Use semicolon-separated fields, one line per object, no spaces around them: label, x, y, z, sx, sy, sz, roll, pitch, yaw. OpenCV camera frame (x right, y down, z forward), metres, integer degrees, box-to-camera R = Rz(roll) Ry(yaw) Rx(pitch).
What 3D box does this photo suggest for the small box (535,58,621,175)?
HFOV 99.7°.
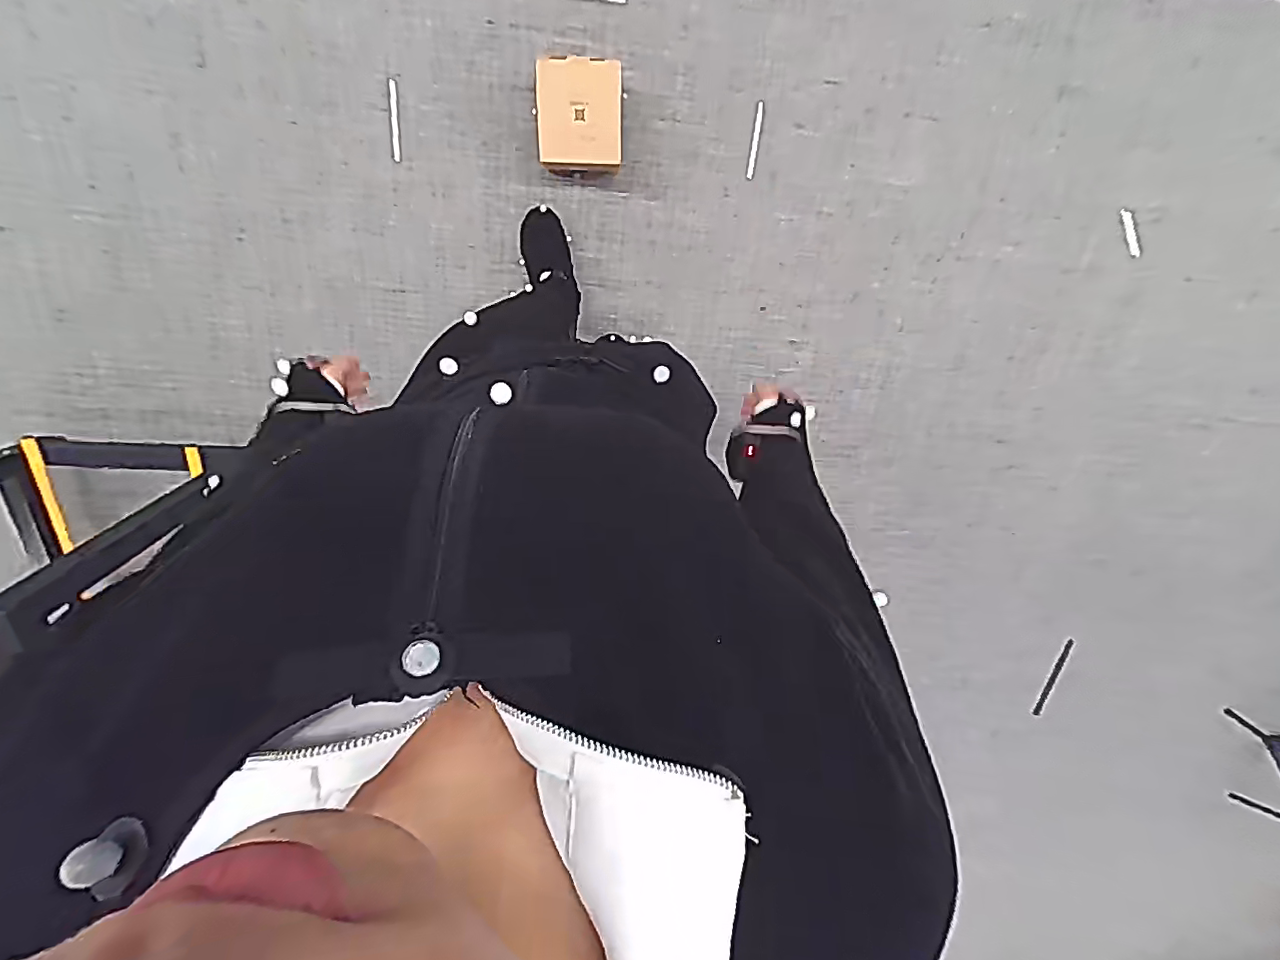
small box;-0.126;-0.749;1.129;0.168;0.176;0.179;-1;115;-3
